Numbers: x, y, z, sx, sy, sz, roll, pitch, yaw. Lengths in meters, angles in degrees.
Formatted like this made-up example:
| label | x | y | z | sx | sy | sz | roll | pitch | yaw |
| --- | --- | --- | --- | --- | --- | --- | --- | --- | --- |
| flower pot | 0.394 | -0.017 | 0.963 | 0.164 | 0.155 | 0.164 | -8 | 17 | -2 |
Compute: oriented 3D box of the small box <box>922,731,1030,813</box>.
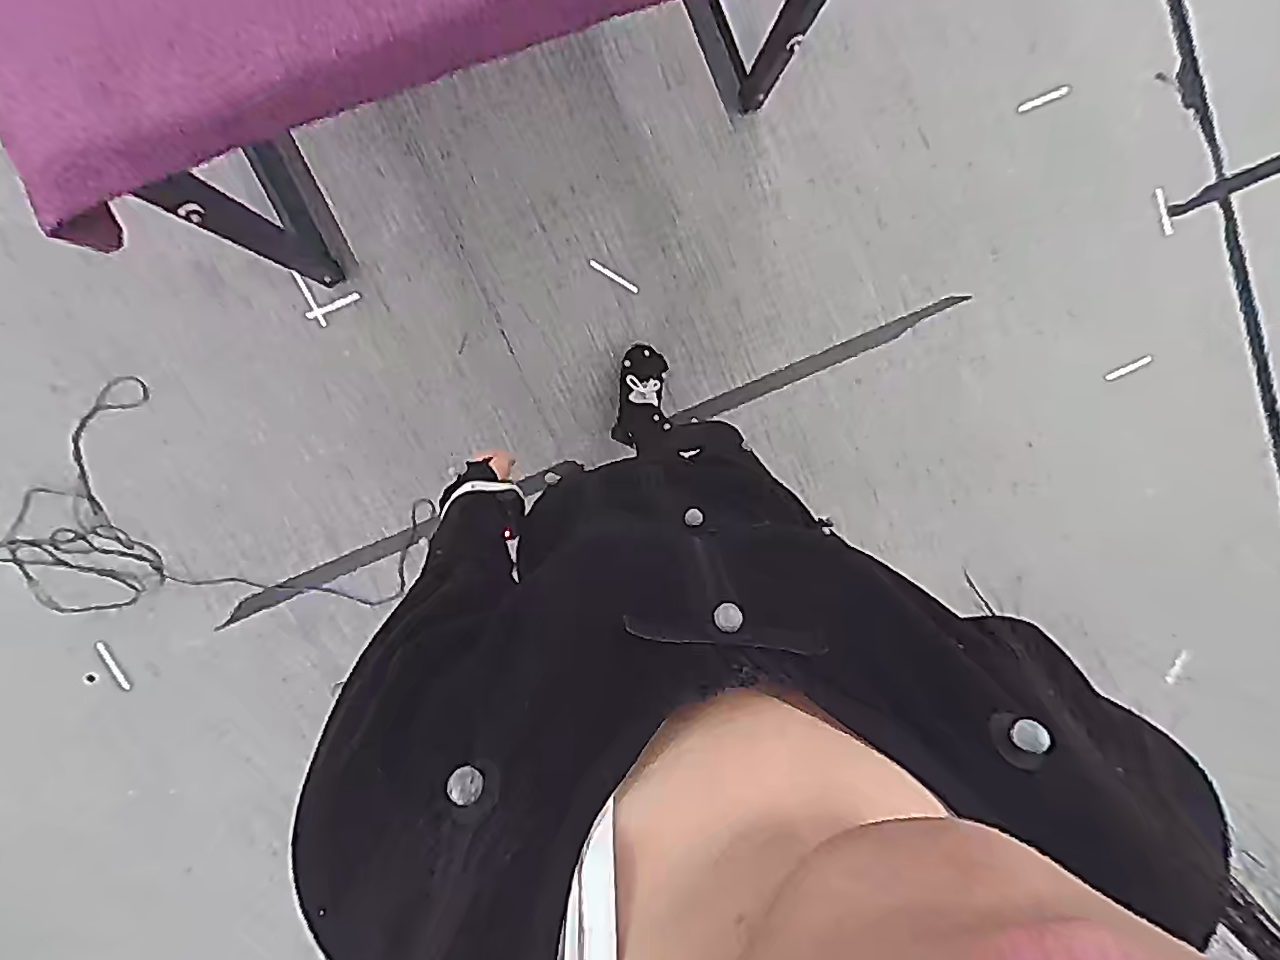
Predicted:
| label | x | y | z | sx | sy | sz | roll | pitch | yaw |
| --- | --- | --- | --- | --- | --- | --- | --- | --- | --- |
| small box | 0.985 | 0.878 | 1.594 | 0.179 | 0.176 | 0.168 | 25 | 93 | -10 |
